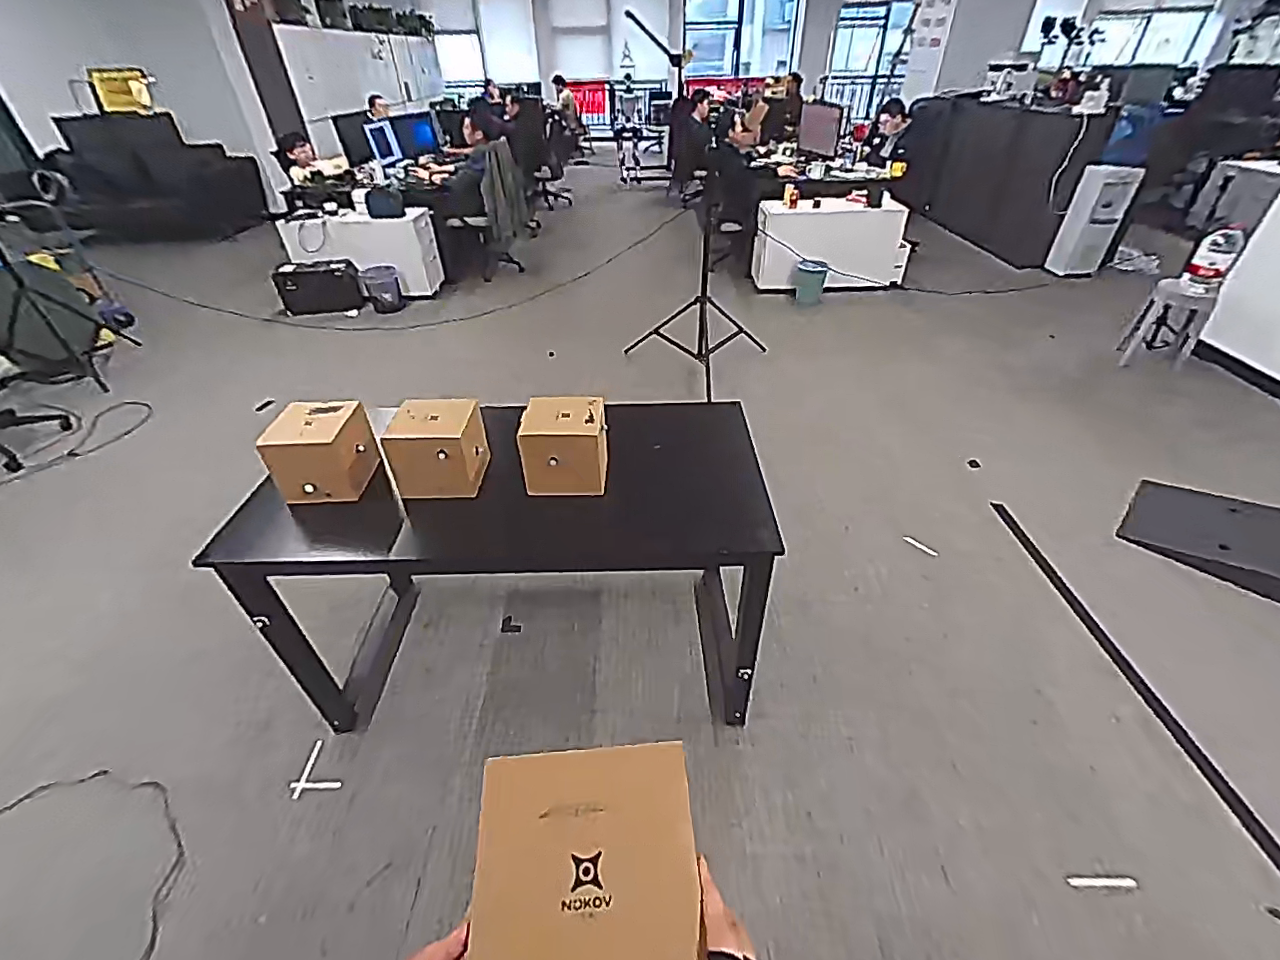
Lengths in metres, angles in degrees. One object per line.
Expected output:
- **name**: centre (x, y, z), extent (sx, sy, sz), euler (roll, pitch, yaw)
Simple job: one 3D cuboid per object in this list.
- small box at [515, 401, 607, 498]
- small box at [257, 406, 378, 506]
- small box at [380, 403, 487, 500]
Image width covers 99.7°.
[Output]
- **small box**: centre (-0.176, -0.071, 1.262), extent (0.179, 0.176, 0.168), euler (-1, 38, 2)
- **small box**: centre (-0.735, -0.057, 1.261), extent (0.168, 0.176, 0.179), euler (-3, 39, -1)
- **small box**: centre (-0.469, -0.065, 1.261), extent (0.179, 0.176, 0.168), euler (-1, 37, 0)
